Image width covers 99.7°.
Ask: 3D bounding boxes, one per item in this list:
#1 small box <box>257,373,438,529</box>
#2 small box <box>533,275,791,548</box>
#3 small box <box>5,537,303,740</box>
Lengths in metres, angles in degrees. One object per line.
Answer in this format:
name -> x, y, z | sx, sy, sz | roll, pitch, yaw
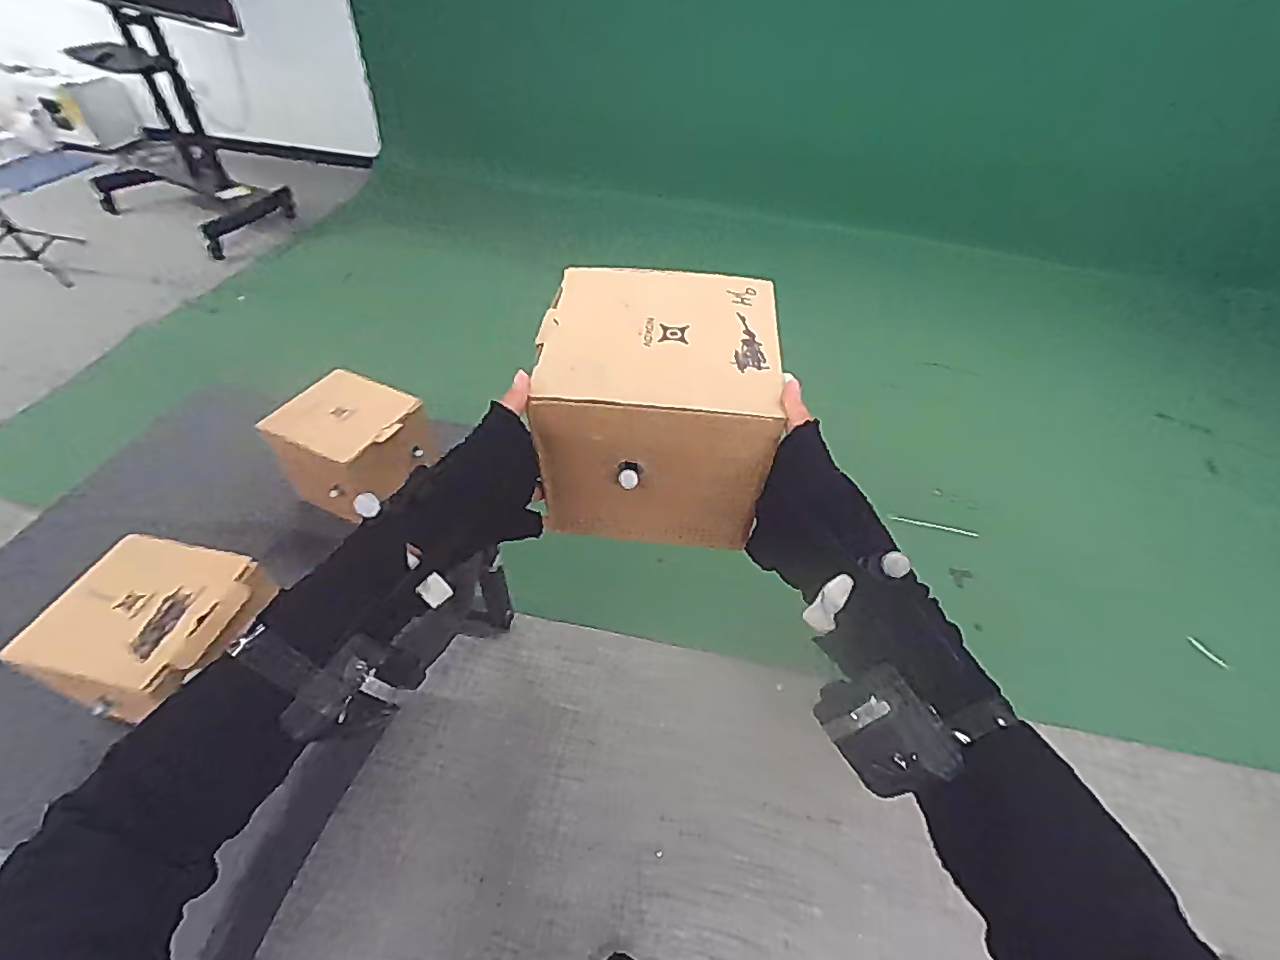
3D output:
small box -> -0.465, -0.044, 0.893 | 0.179, 0.176, 0.168 | 19, 48, 14
small box -> 0.022, -0.055, 0.469 | 0.179, 0.176, 0.168 | 5, 52, 4
small box -> -0.562, 0.198, 0.662 | 0.179, 0.176, 0.168 | 10, 47, 6
